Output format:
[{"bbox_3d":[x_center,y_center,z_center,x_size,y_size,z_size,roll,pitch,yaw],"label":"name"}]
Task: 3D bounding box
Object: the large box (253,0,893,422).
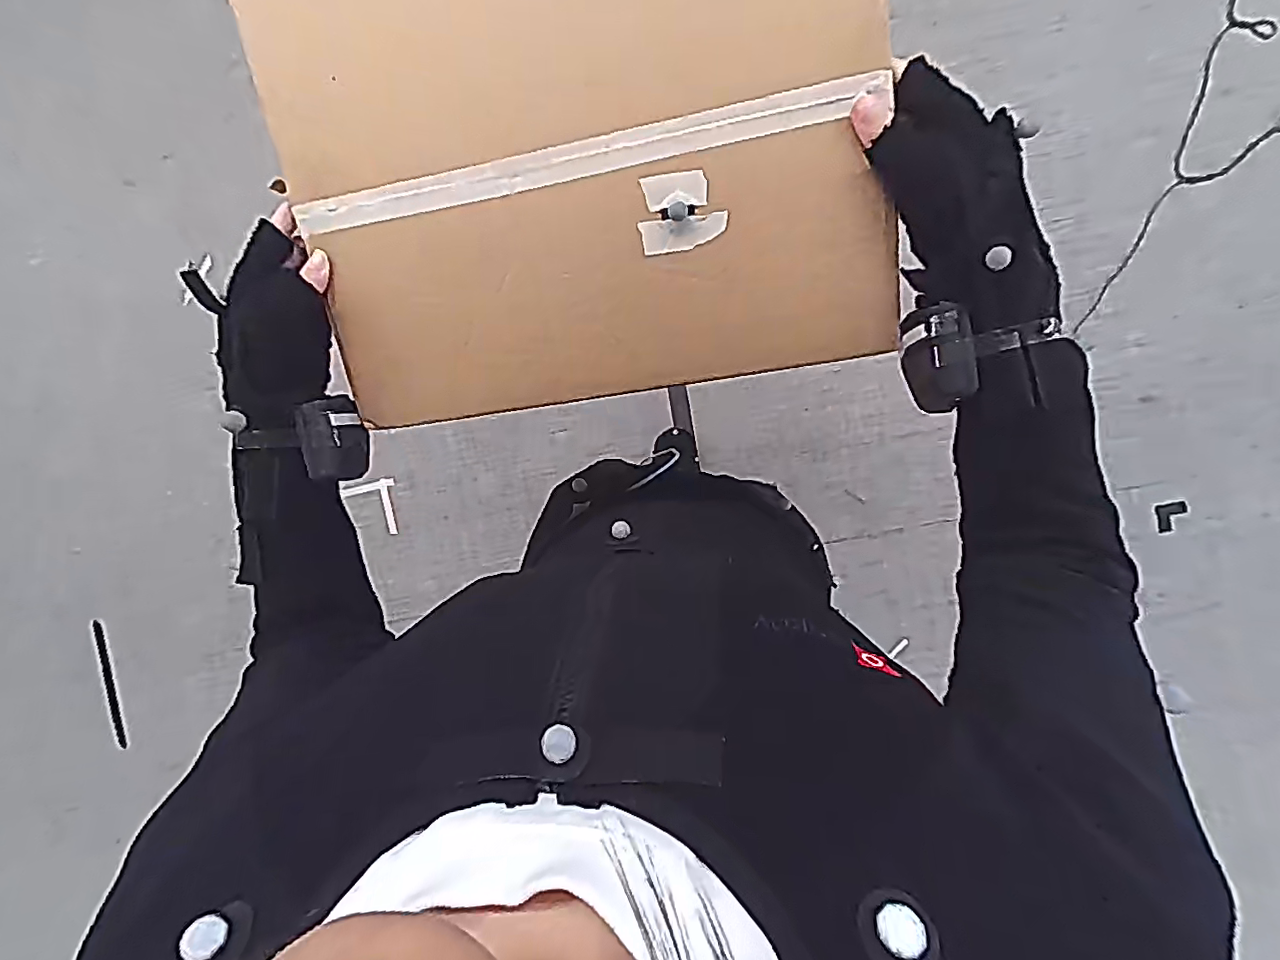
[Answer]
[{"bbox_3d":[-0.028,-0.262,0.513,0.408,0.320,0.320,-8,107,8],"label":"large box"}]
